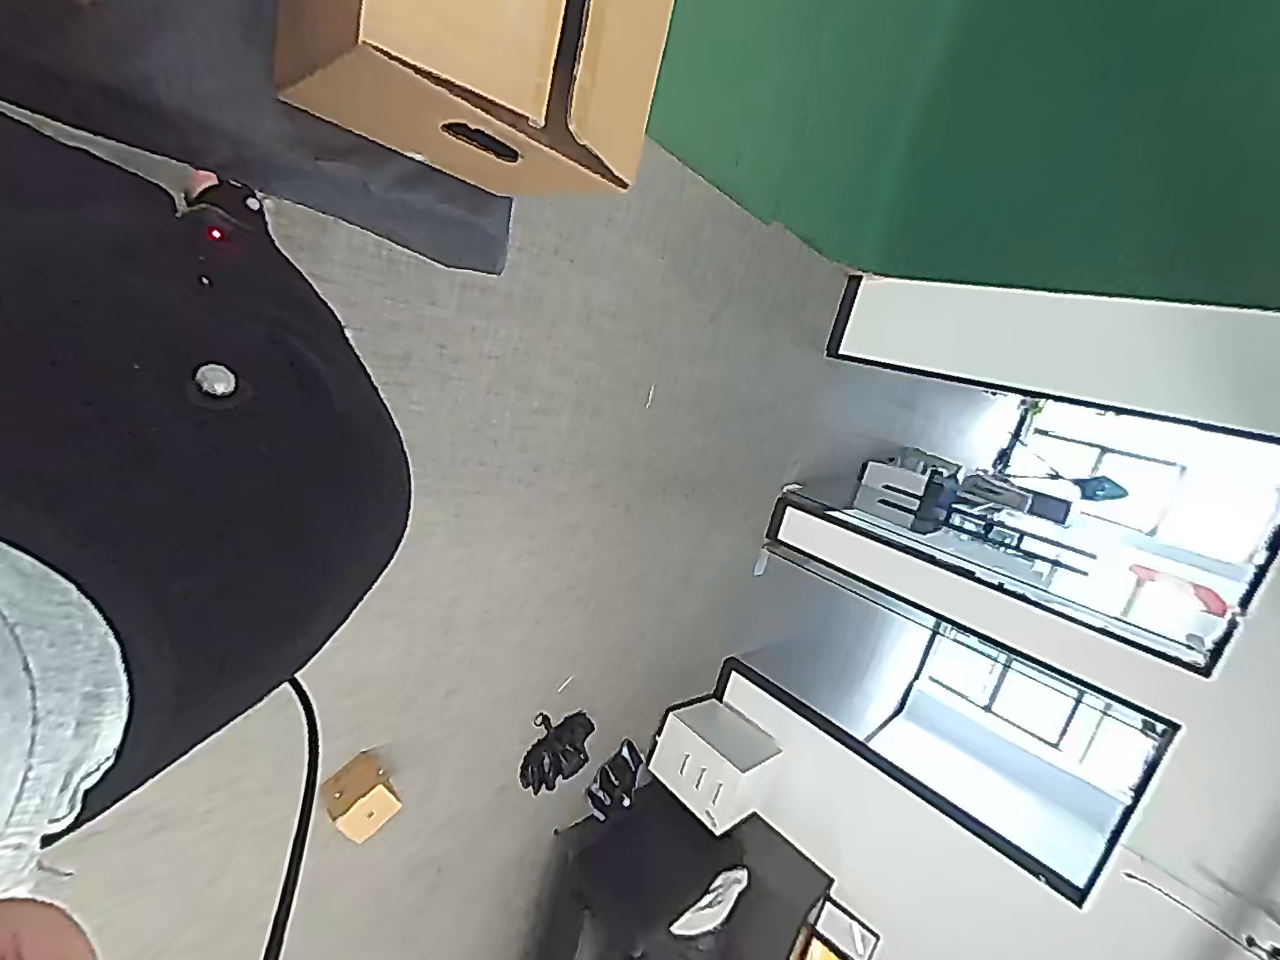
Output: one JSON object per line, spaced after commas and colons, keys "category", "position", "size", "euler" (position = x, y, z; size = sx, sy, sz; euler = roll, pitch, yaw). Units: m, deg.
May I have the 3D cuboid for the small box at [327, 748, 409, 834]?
{"category": "small box", "position": [-0.947, 1.070, 1.875], "size": [0.168, 0.176, 0.179], "euler": [-38, 135, -27]}
